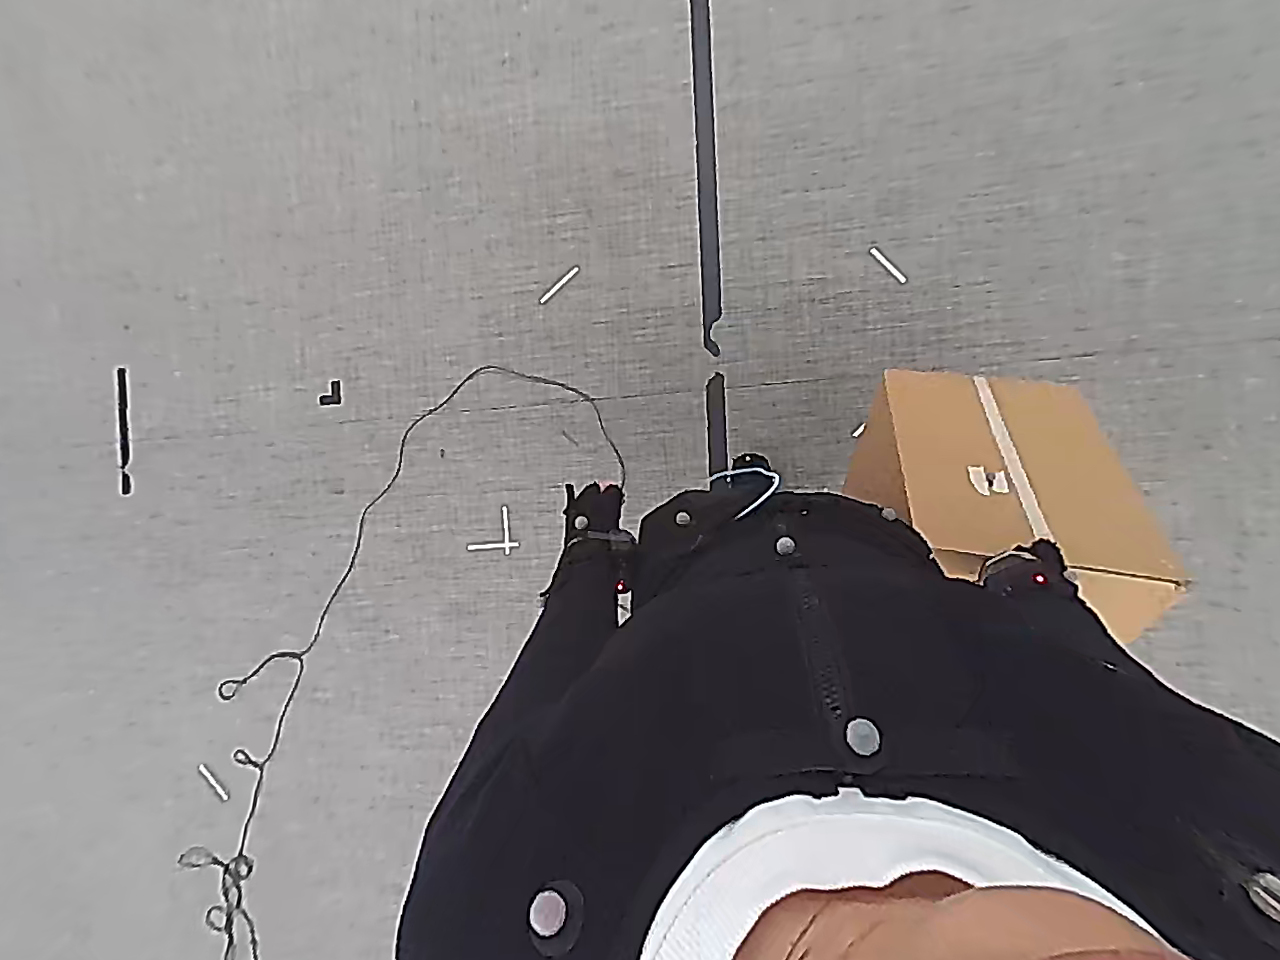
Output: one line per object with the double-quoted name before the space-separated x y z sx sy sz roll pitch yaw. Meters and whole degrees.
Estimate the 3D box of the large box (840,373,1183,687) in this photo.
"large box" 0.543 0.072 0.910 0.320 0.408 0.320 7 137 9
